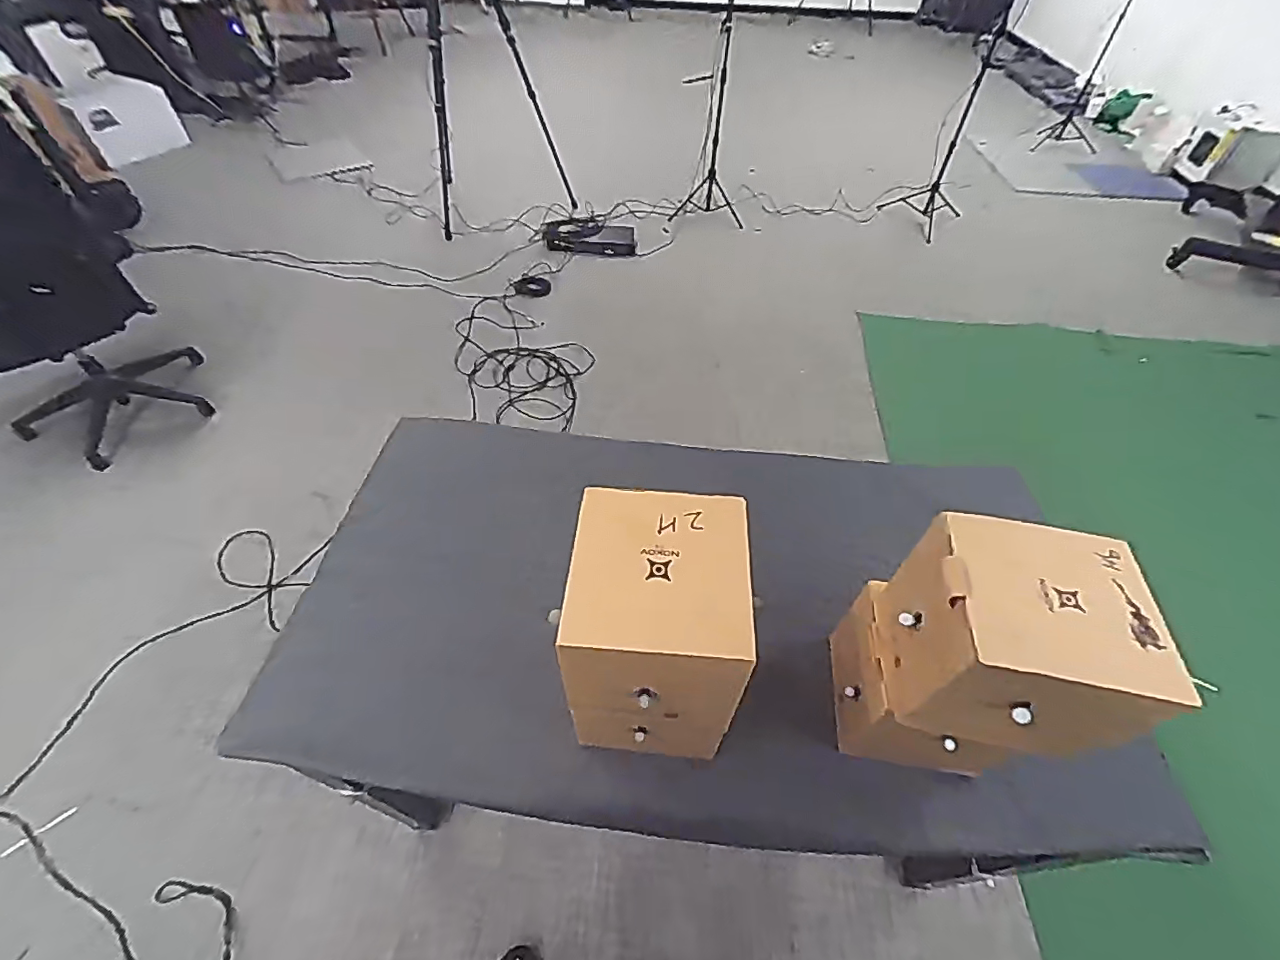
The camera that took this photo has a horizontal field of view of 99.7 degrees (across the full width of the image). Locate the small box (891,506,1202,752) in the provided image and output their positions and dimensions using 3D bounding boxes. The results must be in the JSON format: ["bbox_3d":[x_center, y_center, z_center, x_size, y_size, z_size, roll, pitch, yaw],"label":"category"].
[{"bbox_3d":[0.367,0.151,0.539,0.179,0.176,0.168,10,50,7],"label":"small box"}]

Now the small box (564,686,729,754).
[{"bbox_3d":[0.013,0.228,0.676,0.179,0.176,0.168,5,48,4],"label":"small box"}]

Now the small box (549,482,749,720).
[{"bbox_3d":[0.013,0.125,0.546,0.168,0.176,0.179,4,48,2],"label":"small box"}]

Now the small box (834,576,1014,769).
[{"bbox_3d":[0.353,0.244,0.675,0.179,0.176,0.168,8,50,4],"label":"small box"}]
